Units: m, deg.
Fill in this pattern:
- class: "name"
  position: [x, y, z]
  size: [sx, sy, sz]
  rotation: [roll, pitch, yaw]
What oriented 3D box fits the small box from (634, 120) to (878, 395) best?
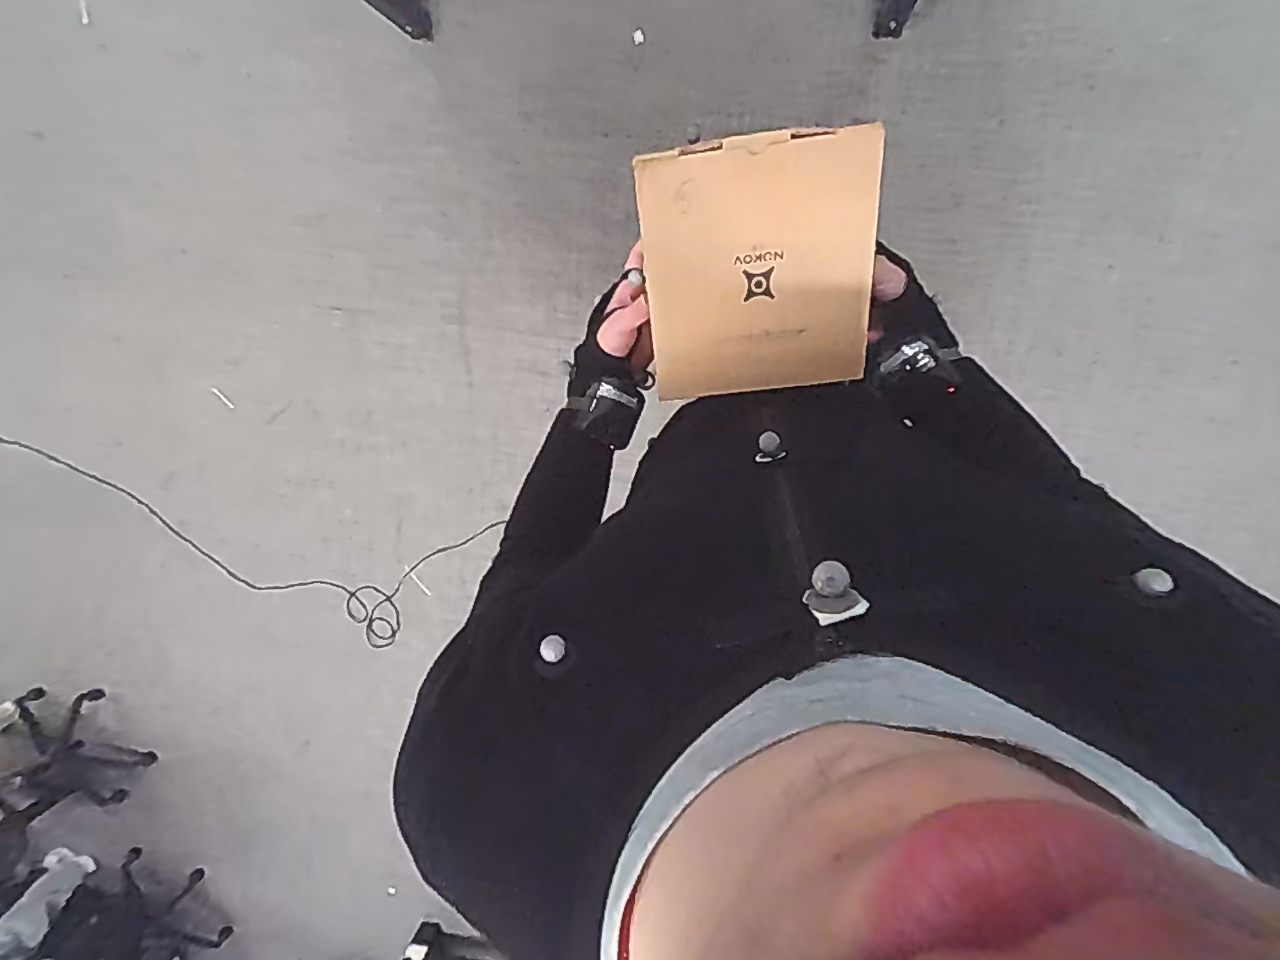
- class: "small box"
  position: [0.085, -0.190, 0.465]
  size: [0.168, 0.176, 0.179]
  rotation: [-5, 121, 5]
